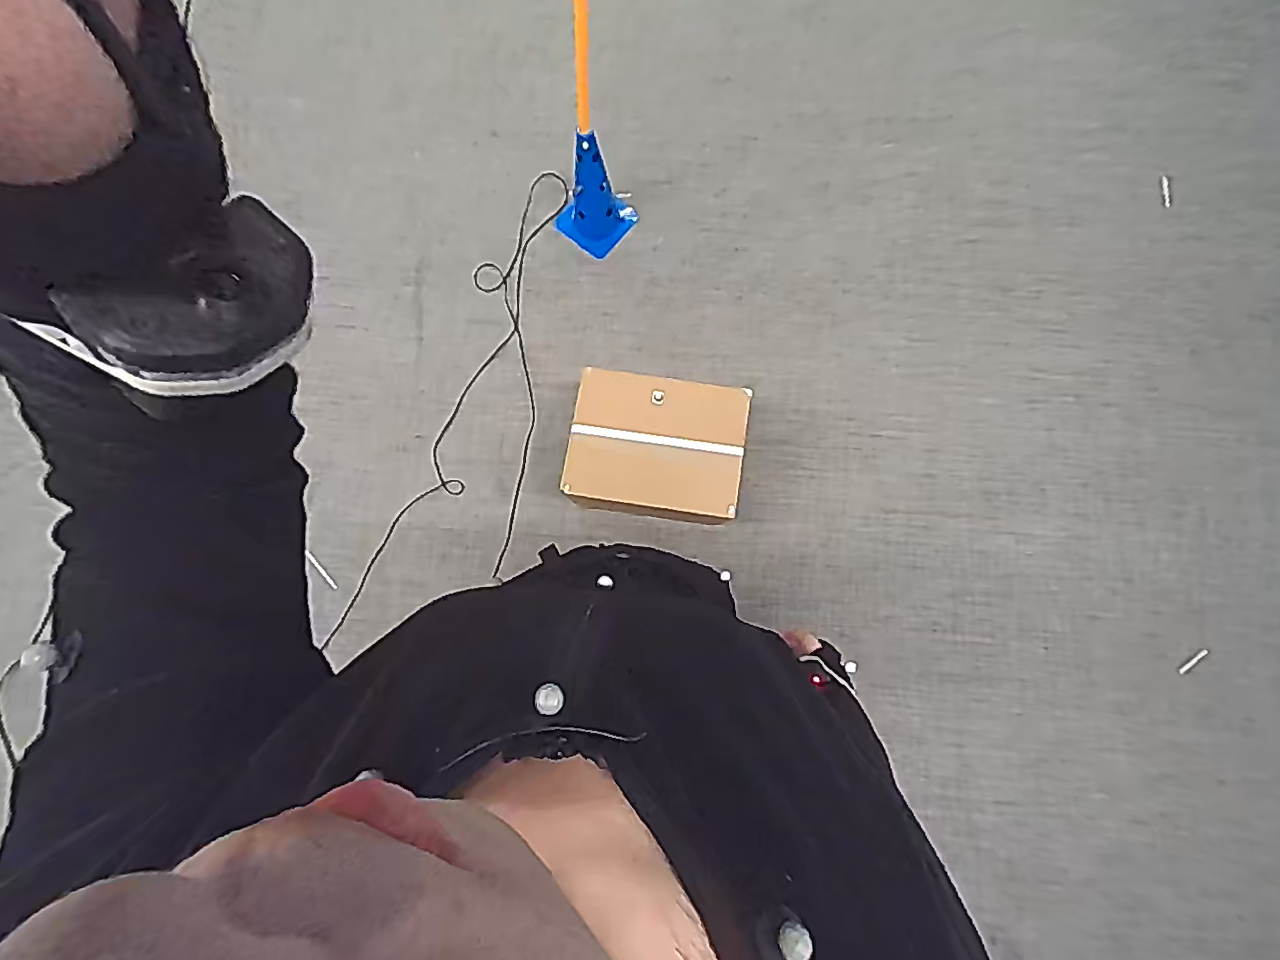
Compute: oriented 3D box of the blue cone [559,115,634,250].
[{"bbox_3d":[-0.131,-0.841,1.491,0.192,0.380,0.193,37,82,5],"label":"blue cone"}]
